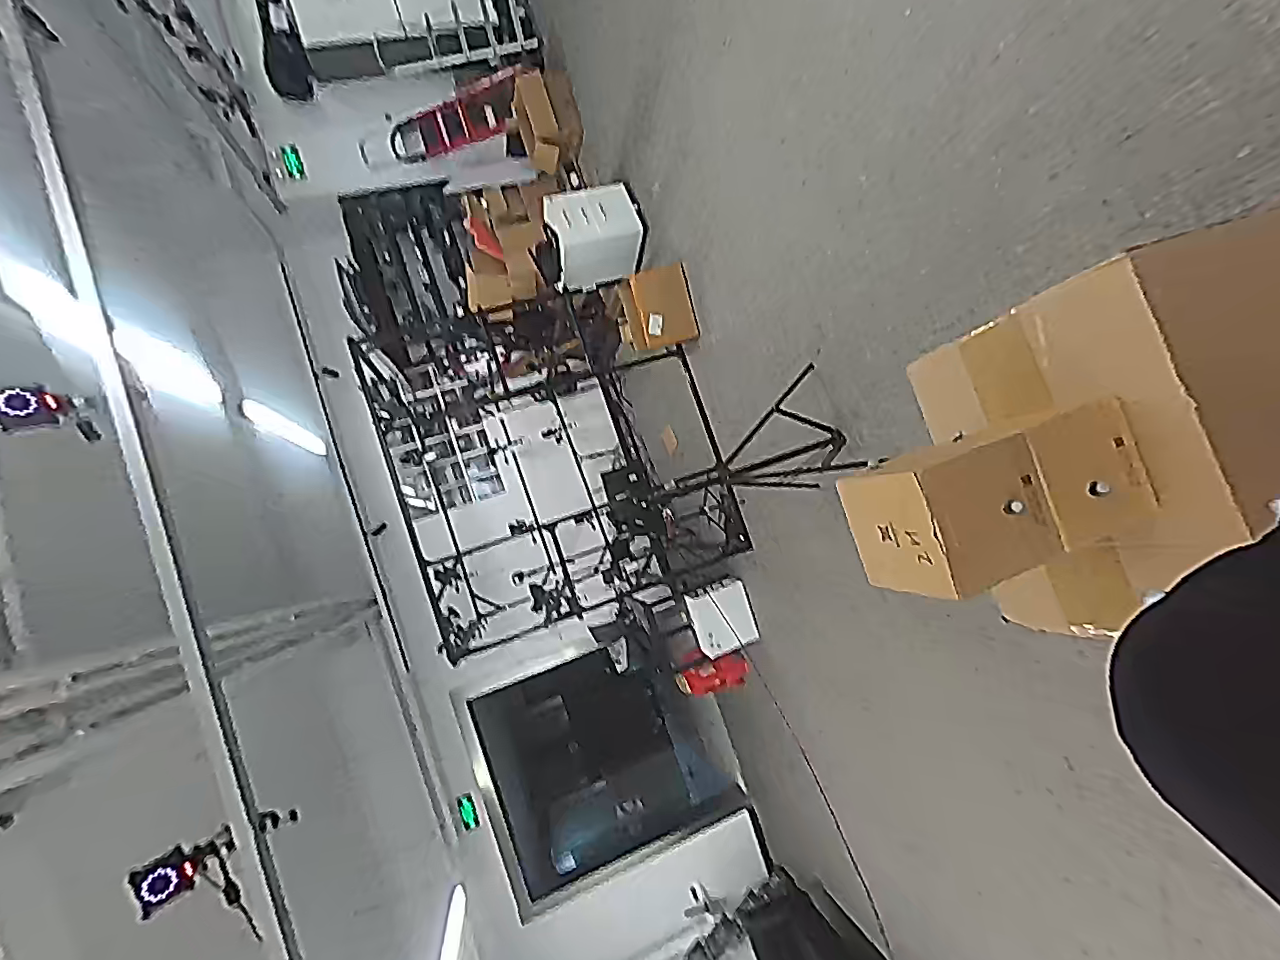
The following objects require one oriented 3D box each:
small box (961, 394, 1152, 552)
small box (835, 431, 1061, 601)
[{"bbox_3d":[0.557,-0.006,0.758,0.179,0.176,0.168,151,100,-77],"label":"small box"},{"bbox_3d":[0.403,0.044,0.727,0.179,0.176,0.168,161,89,-77],"label":"small box"}]
